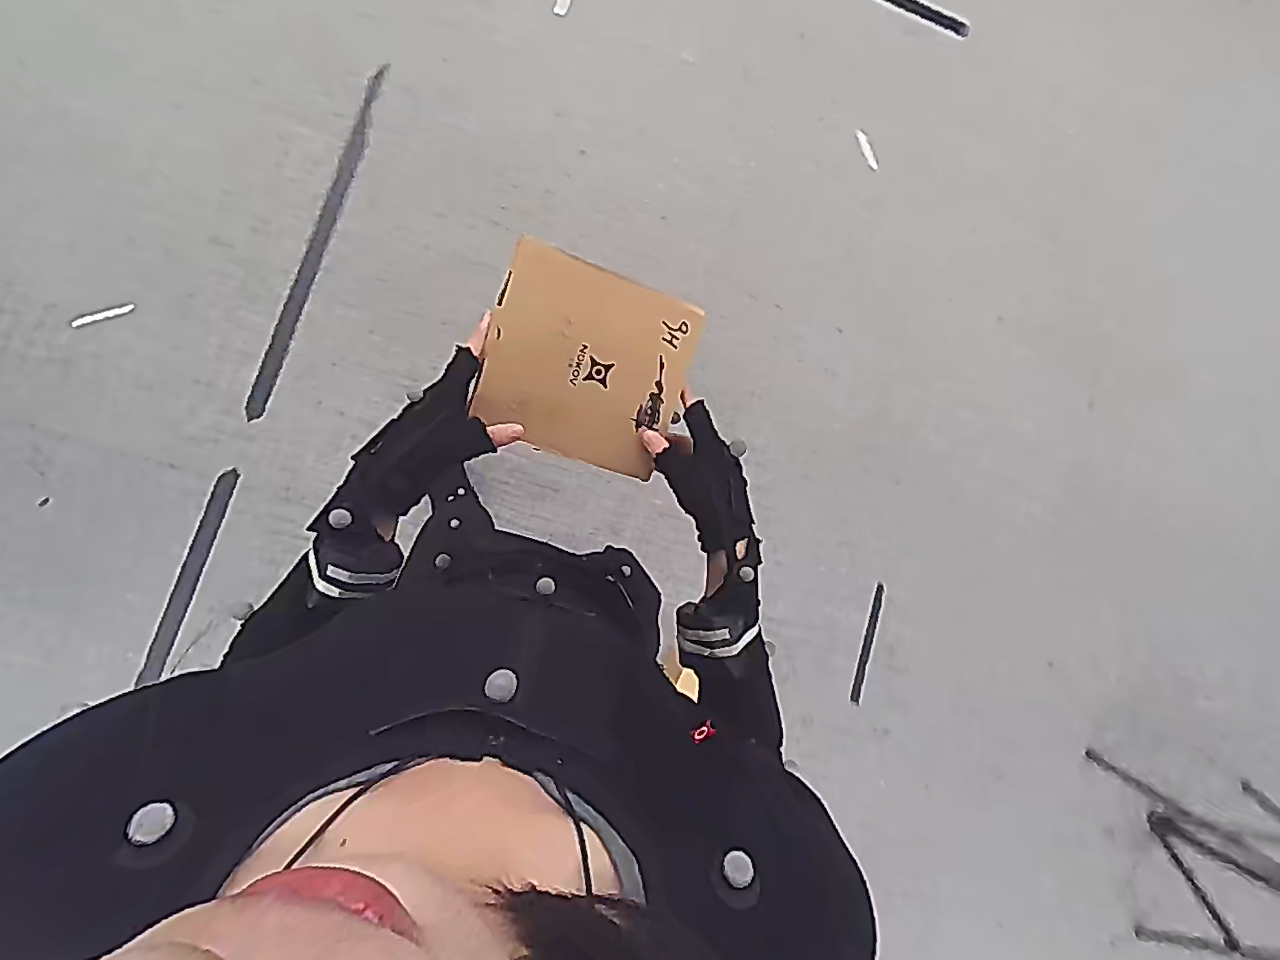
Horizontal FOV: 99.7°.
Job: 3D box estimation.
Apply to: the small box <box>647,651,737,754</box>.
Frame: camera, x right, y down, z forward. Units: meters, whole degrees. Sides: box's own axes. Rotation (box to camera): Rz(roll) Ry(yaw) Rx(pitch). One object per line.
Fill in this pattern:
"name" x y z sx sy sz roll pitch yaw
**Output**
"small box" 0.132 0.590 1.456 0.168 0.176 0.179 29 83 -6
